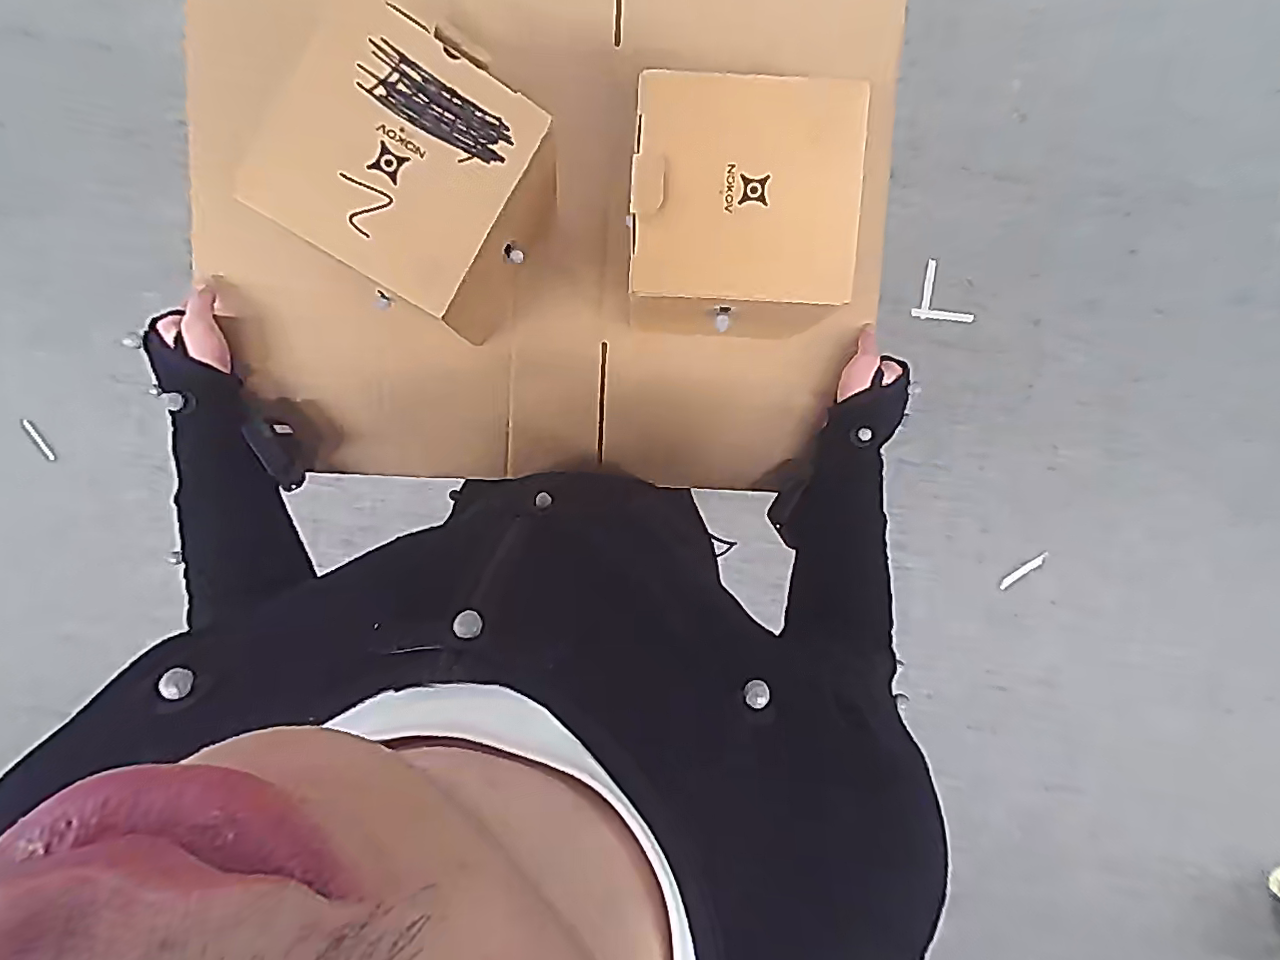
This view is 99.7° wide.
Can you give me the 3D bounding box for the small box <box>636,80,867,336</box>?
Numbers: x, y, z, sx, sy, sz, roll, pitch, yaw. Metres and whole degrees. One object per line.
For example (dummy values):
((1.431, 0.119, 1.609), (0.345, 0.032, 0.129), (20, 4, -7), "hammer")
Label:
((0.088, -0.234, 0.510), (0.179, 0.176, 0.168), (3, 95, 1), "small box")
